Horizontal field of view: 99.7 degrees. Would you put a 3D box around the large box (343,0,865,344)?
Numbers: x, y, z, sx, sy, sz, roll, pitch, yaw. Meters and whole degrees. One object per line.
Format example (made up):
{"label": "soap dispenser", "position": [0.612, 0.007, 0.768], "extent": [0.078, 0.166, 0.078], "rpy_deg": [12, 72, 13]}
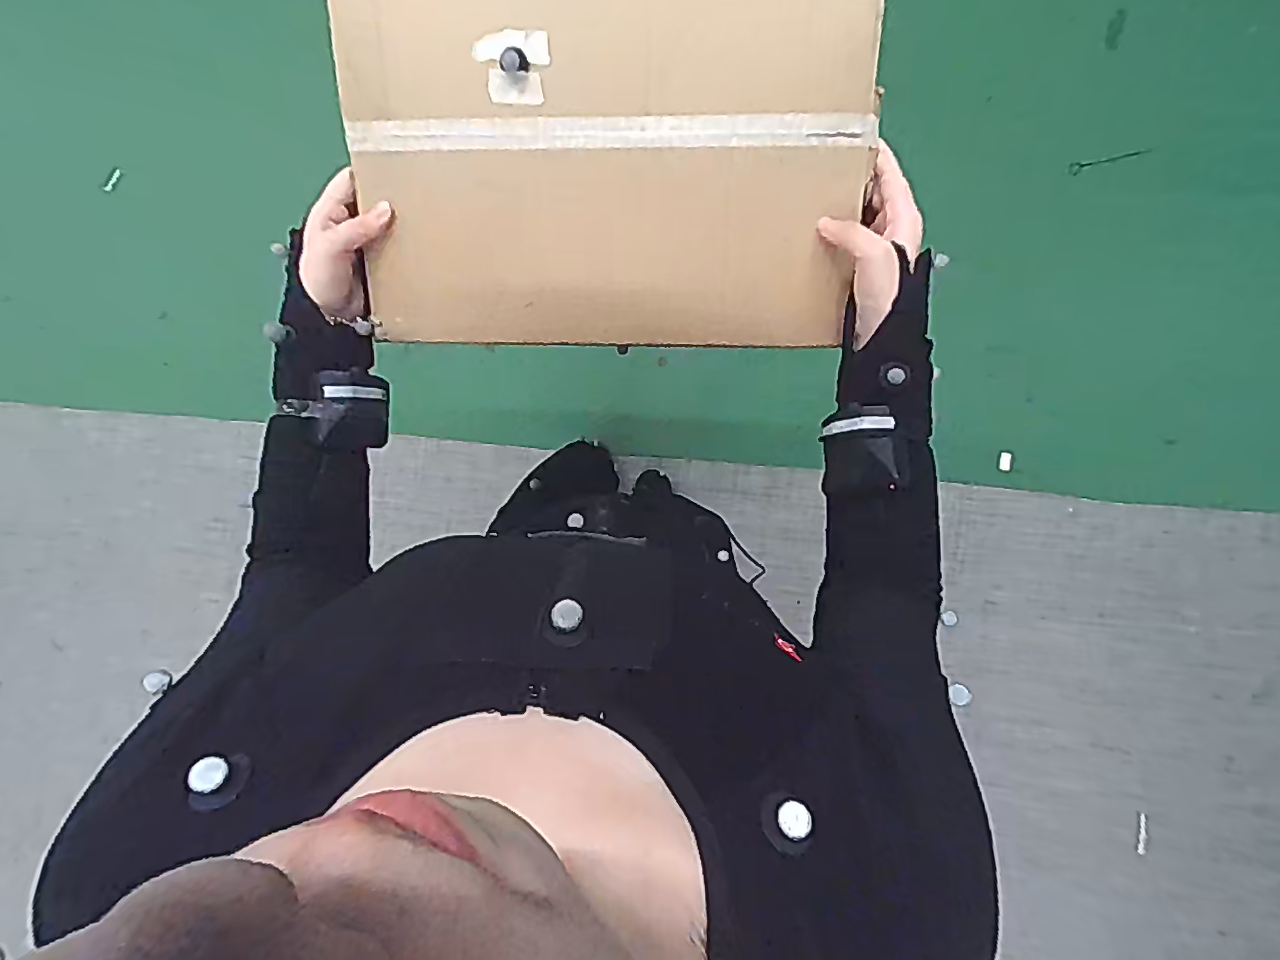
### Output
{"label": "large box", "position": [-0.019, -0.315, 0.574], "extent": [0.408, 0.320, 0.320], "rpy_deg": [1, 106, 4]}
